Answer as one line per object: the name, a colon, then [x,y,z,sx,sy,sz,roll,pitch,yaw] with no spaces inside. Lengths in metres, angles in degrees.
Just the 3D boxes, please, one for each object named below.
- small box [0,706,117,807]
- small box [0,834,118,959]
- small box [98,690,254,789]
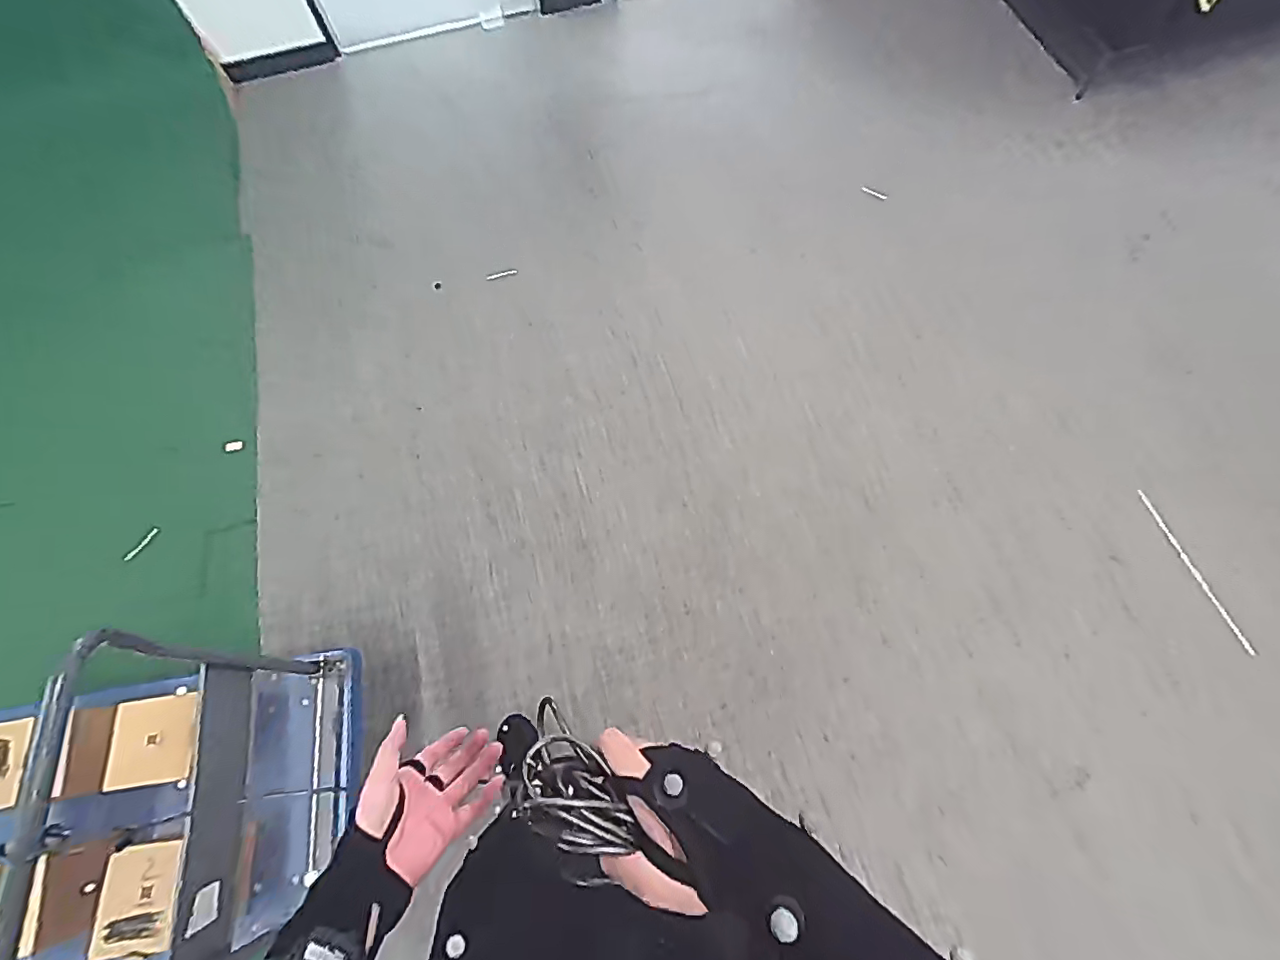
small box: [-1.236,0.586,1.152,0.179,0.176,0.168,-11,69,-4]
small box: [-1.187,0.820,1.056,0.179,0.176,0.168,-13,67,-3]
small box: [-0.981,0.552,1.161,0.179,0.176,0.168,-8,68,-3]
